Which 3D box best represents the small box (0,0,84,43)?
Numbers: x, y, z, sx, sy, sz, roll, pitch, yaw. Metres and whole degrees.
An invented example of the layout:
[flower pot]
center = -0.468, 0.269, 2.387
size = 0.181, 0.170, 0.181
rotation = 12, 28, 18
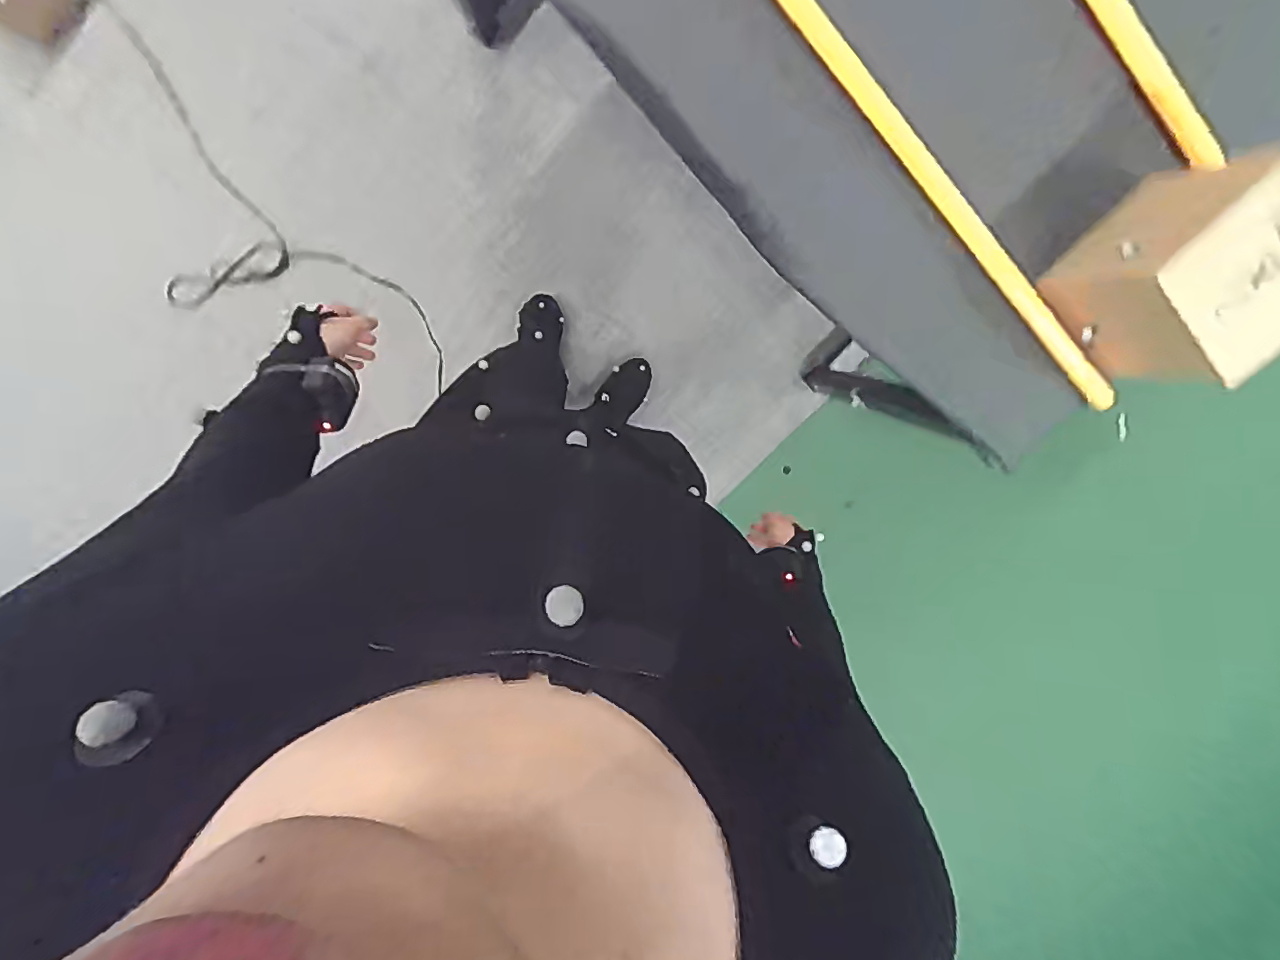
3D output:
[small box]
center = -1.263, -1.020, 1.055
size = 0.179, 0.176, 0.168
rotation = -40, 105, 8
